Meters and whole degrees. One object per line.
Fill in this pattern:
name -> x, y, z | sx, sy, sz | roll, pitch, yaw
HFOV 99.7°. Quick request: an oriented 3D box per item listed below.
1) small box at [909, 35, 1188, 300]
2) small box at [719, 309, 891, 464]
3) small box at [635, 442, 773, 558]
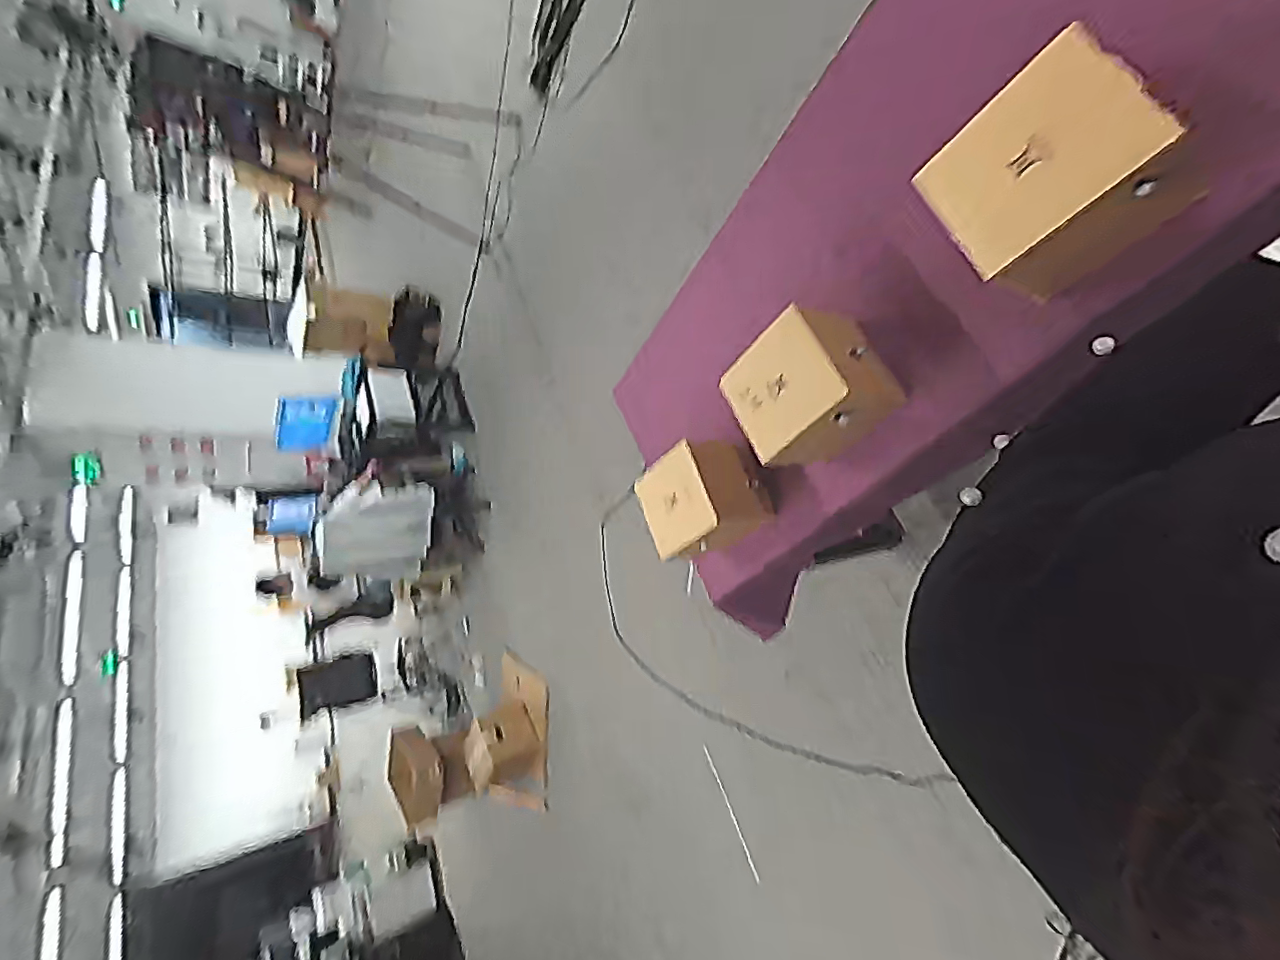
small box -> 0.457, -0.331, 0.613 | 0.179, 0.176, 0.168 | -42, 60, 44
small box -> 0.266, -0.140, 0.860 | 0.179, 0.176, 0.168 | -46, 56, 42
small box -> 0.122, 0.040, 1.053 | 0.179, 0.176, 0.168 | -40, 61, 43
